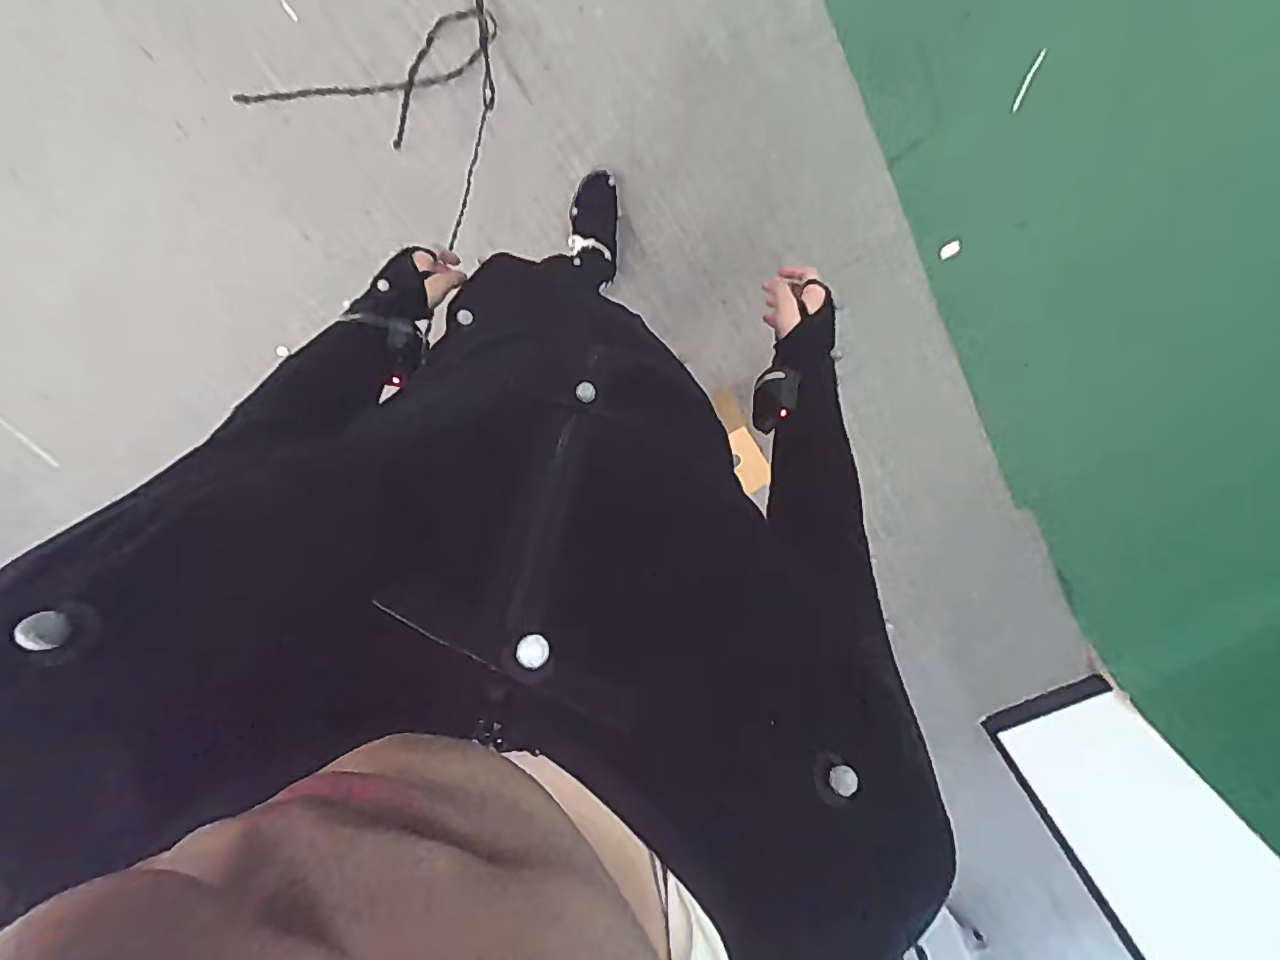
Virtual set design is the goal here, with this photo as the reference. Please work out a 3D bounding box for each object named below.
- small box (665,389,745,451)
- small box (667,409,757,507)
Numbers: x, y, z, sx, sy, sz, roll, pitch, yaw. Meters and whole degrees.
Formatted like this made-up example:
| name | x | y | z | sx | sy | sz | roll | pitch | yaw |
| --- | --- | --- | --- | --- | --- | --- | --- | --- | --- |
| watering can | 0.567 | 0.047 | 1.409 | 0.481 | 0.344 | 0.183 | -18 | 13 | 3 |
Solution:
| name | x | y | z | sx | sy | sz | roll | pitch | yaw |
| --- | --- | --- | --- | --- | --- | --- | --- | --- | --- |
| small box | 0.183 | -0.146 | 1.565 | 0.168 | 0.176 | 0.179 | -27 | 116 | 14 |
| small box | 0.182 | -0.067 | 1.423 | 0.168 | 0.176 | 0.179 | -29 | 115 | 14 |
